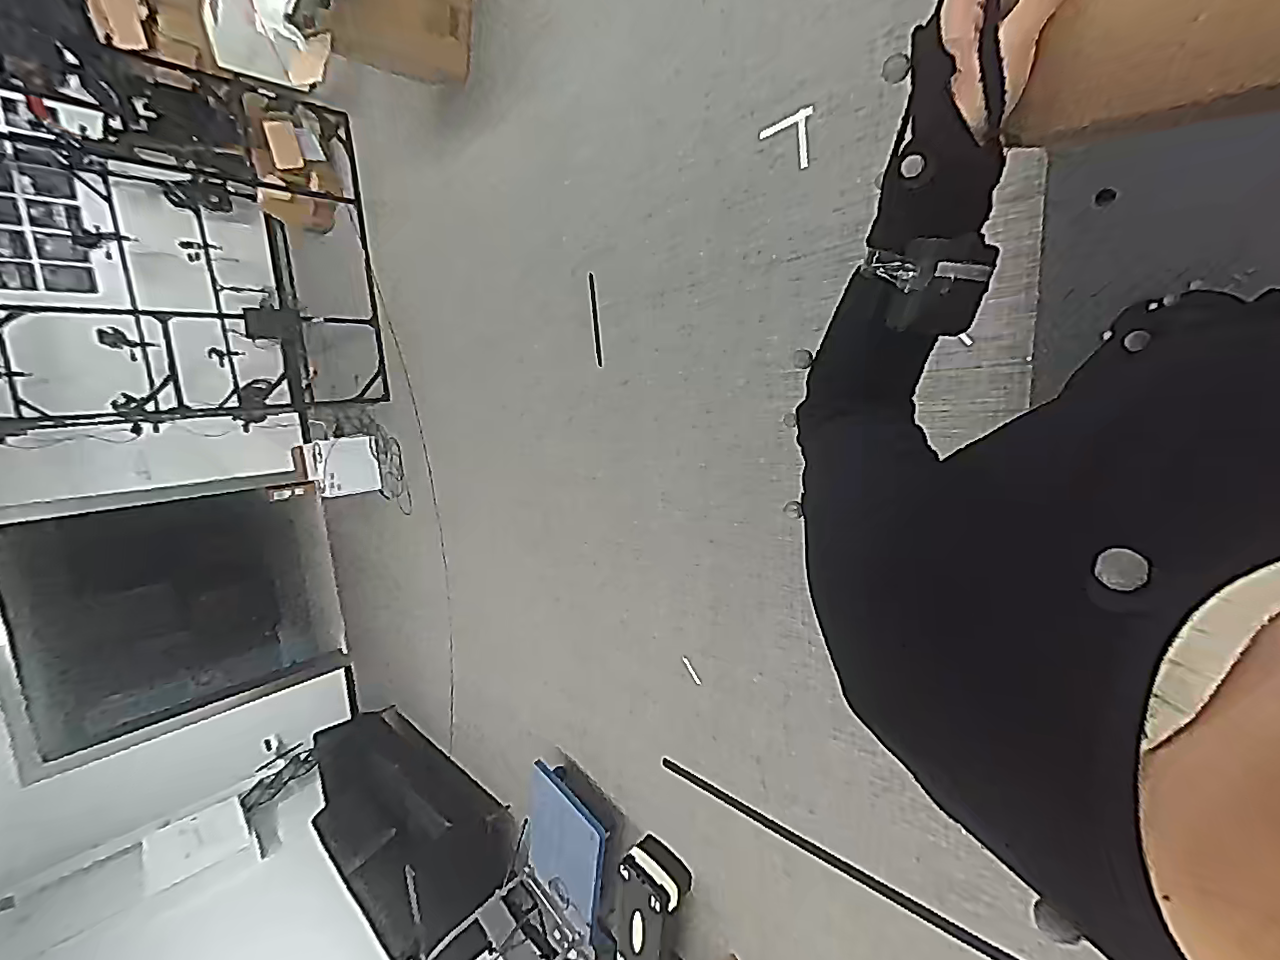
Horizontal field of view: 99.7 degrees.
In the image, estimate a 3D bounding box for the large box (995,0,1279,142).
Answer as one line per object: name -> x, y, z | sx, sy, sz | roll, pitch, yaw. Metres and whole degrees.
large box -> 0.442, -0.388, 0.251 | 0.408, 0.320, 0.320 | 12, 122, 42
